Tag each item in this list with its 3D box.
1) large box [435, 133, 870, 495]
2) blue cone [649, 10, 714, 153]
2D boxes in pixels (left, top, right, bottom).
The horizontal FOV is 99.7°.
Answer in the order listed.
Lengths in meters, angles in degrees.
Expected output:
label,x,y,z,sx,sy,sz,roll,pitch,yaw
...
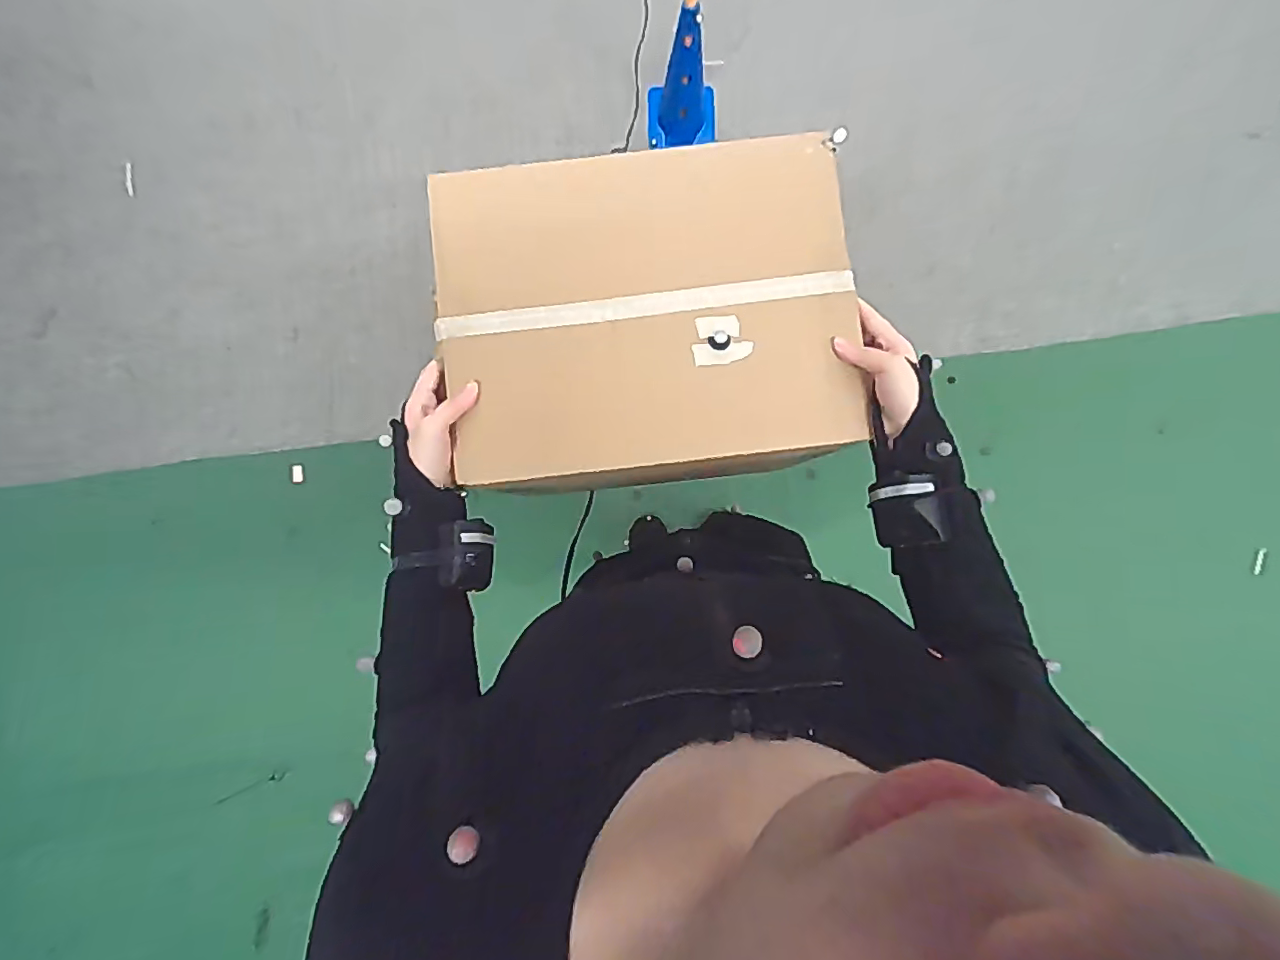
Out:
label,x,y,z,sx,sy,sz,roll,pitch,yaw
large box,0.007,-0.165,0.681,0.408,0.320,0.320,-7,87,-1
blue cone,0.122,-1.081,1.452,0.193,0.380,0.192,0,86,1
